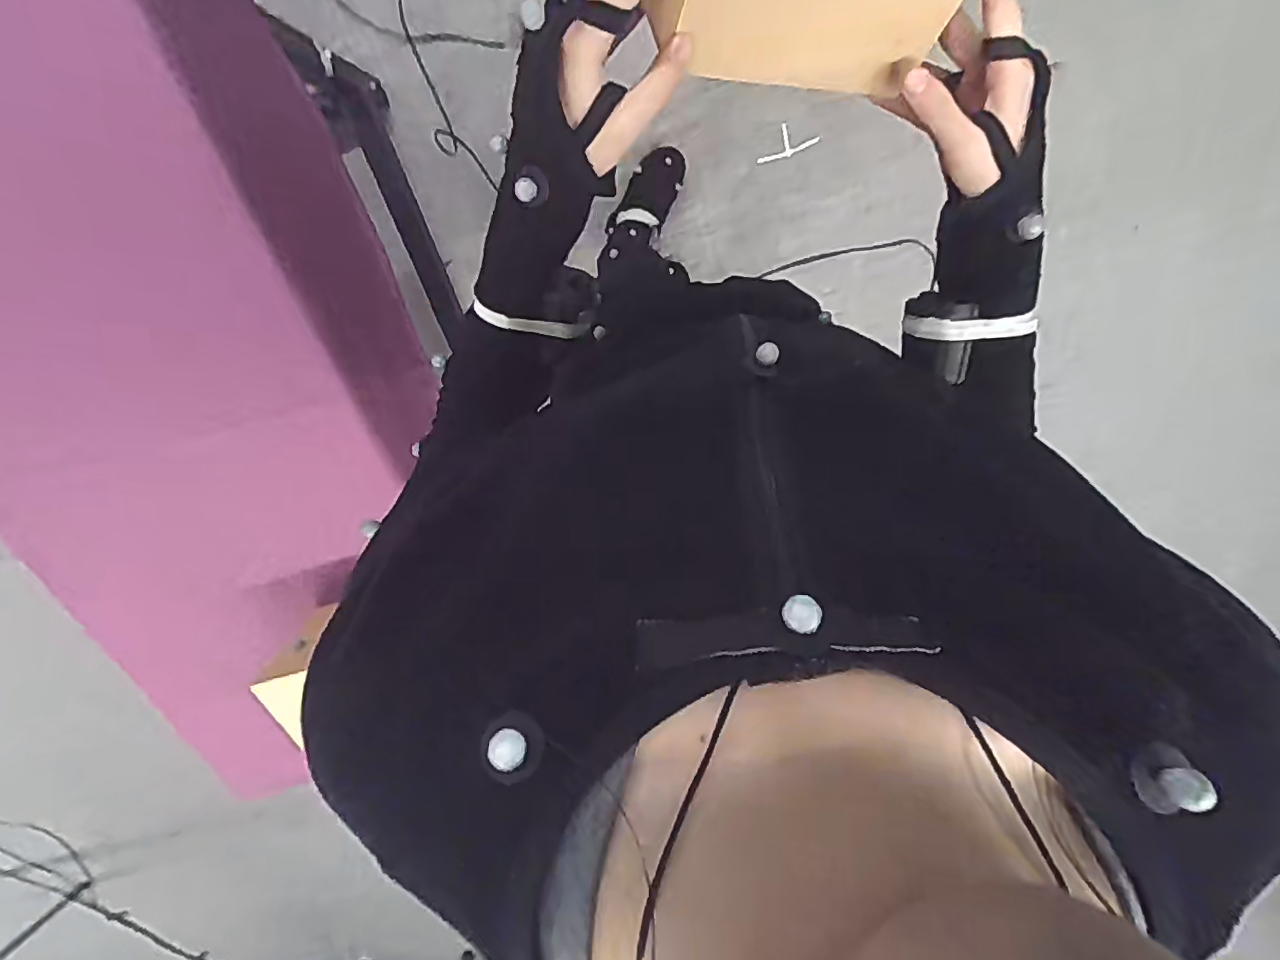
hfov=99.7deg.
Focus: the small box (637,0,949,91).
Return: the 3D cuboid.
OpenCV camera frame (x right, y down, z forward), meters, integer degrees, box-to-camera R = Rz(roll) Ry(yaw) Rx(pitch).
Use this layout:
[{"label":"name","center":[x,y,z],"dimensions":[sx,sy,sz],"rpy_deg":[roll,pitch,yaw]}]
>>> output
[{"label":"small box","center":[0.087,-0.347,0.272],"dimensions":[0.168,0.179,0.176],"rpy_deg":[-7,71,-16]}]
